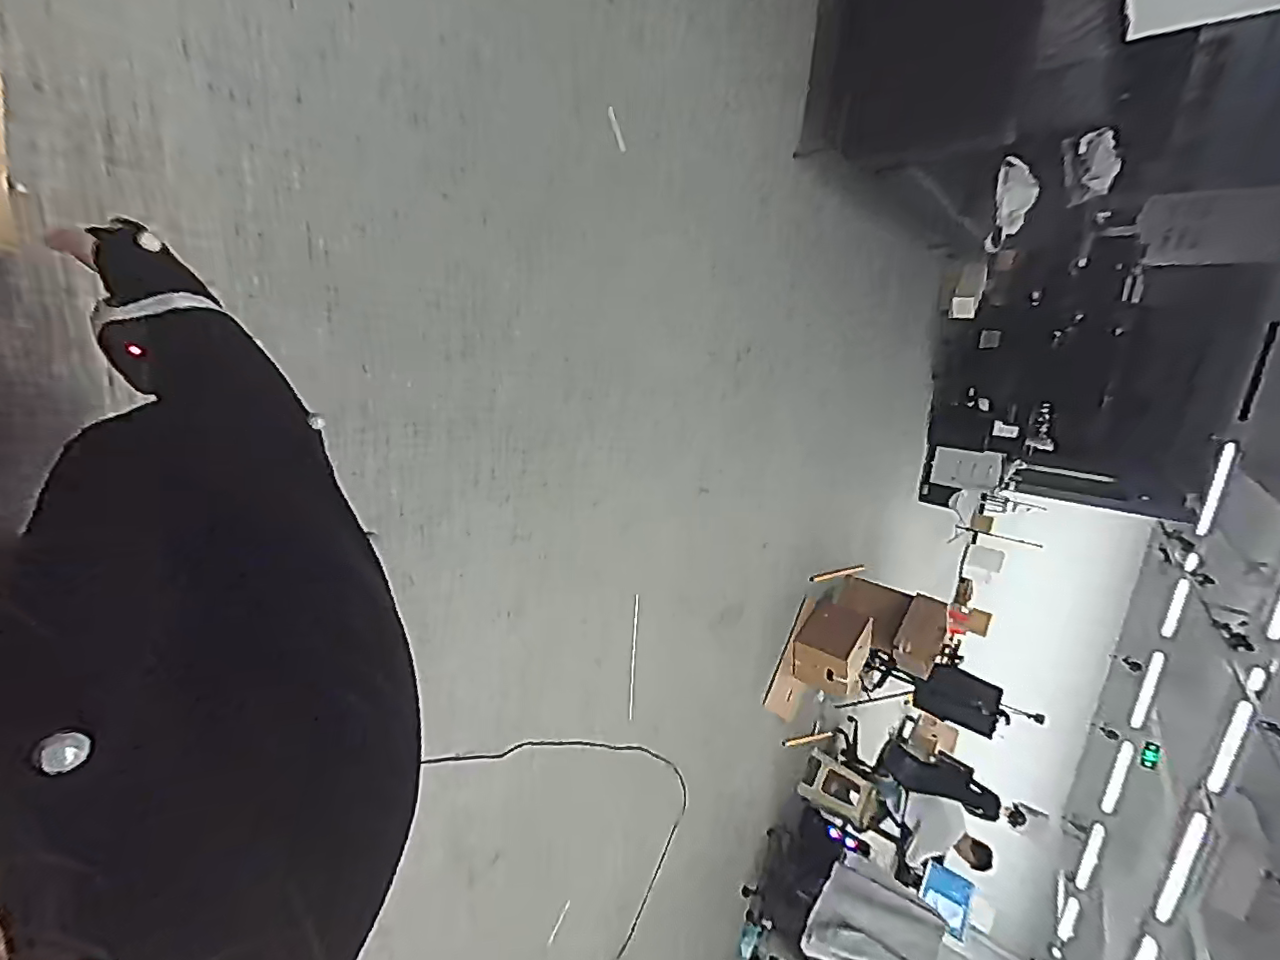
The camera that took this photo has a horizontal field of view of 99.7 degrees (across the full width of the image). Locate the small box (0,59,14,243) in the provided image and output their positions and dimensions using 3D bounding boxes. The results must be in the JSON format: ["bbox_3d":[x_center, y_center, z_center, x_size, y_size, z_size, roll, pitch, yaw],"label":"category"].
[{"bbox_3d":[-0.712,-0.321,0.494,0.179,0.176,0.168,-5,106,-51],"label":"small box"}]
